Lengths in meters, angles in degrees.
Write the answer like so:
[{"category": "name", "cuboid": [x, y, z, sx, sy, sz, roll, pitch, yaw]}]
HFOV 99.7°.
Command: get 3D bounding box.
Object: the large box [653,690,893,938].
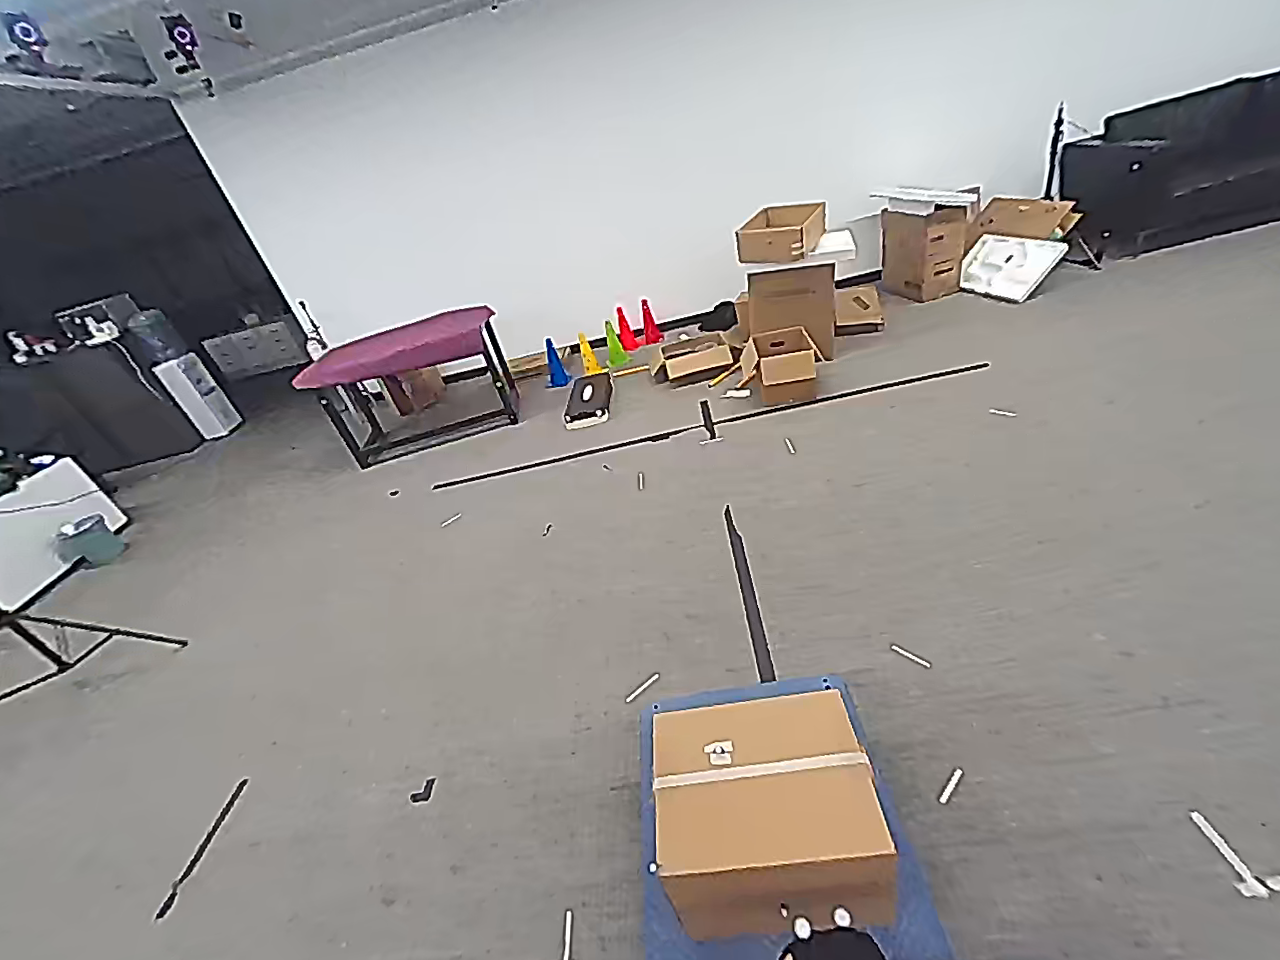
[{"category": "large box", "cuboid": [0.263, 0.694, 1.128, 0.408, 0.320, 0.320, -13, 31, 7]}]
